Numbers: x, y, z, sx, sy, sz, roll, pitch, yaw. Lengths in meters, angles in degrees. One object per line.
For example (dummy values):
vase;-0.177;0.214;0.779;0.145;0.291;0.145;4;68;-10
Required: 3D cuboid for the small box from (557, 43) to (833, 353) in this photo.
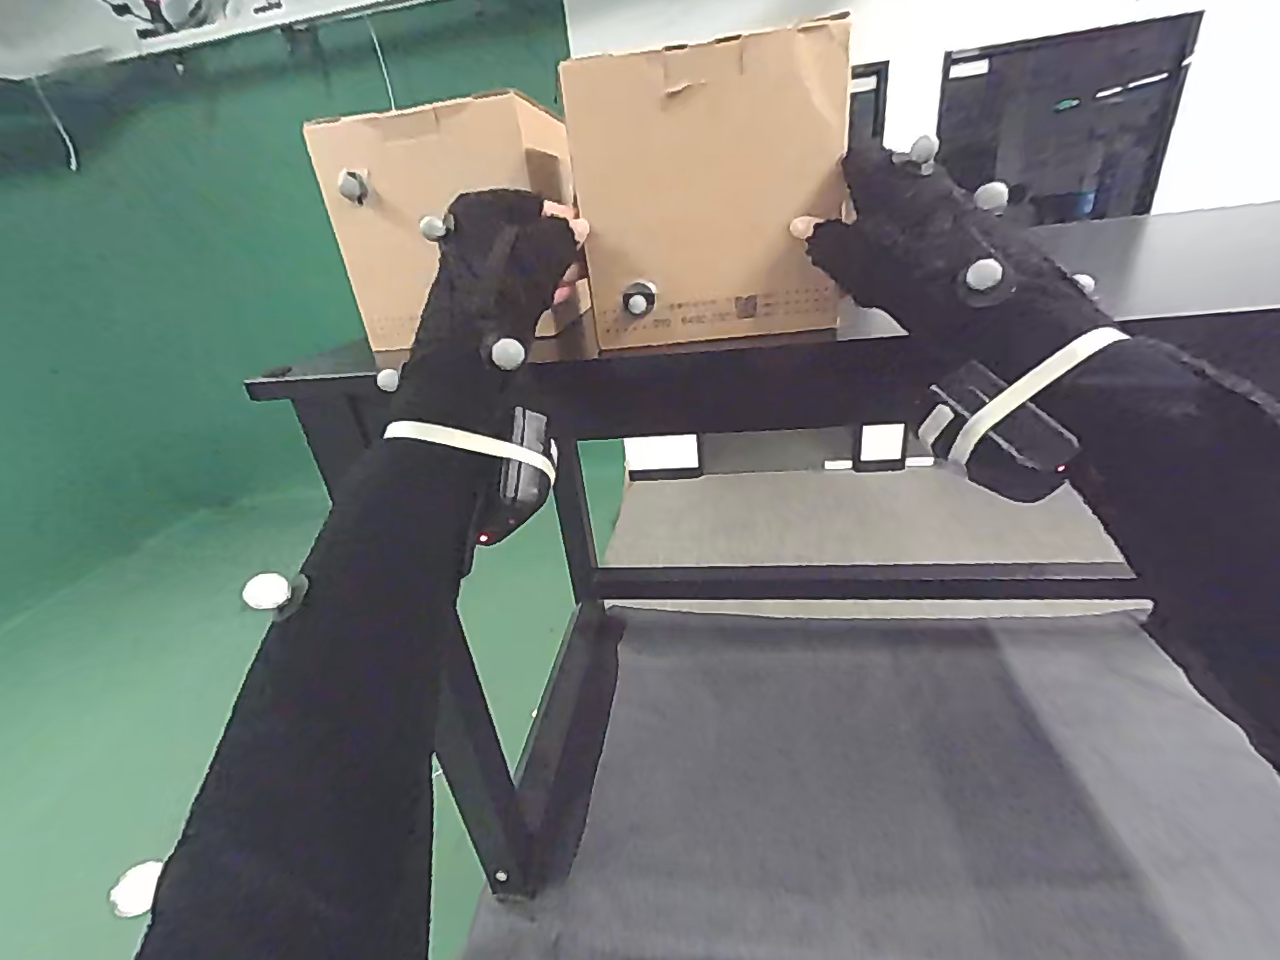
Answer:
small box;0.046;-0.198;0.419;0.168;0.176;0.179;-4;25;6
